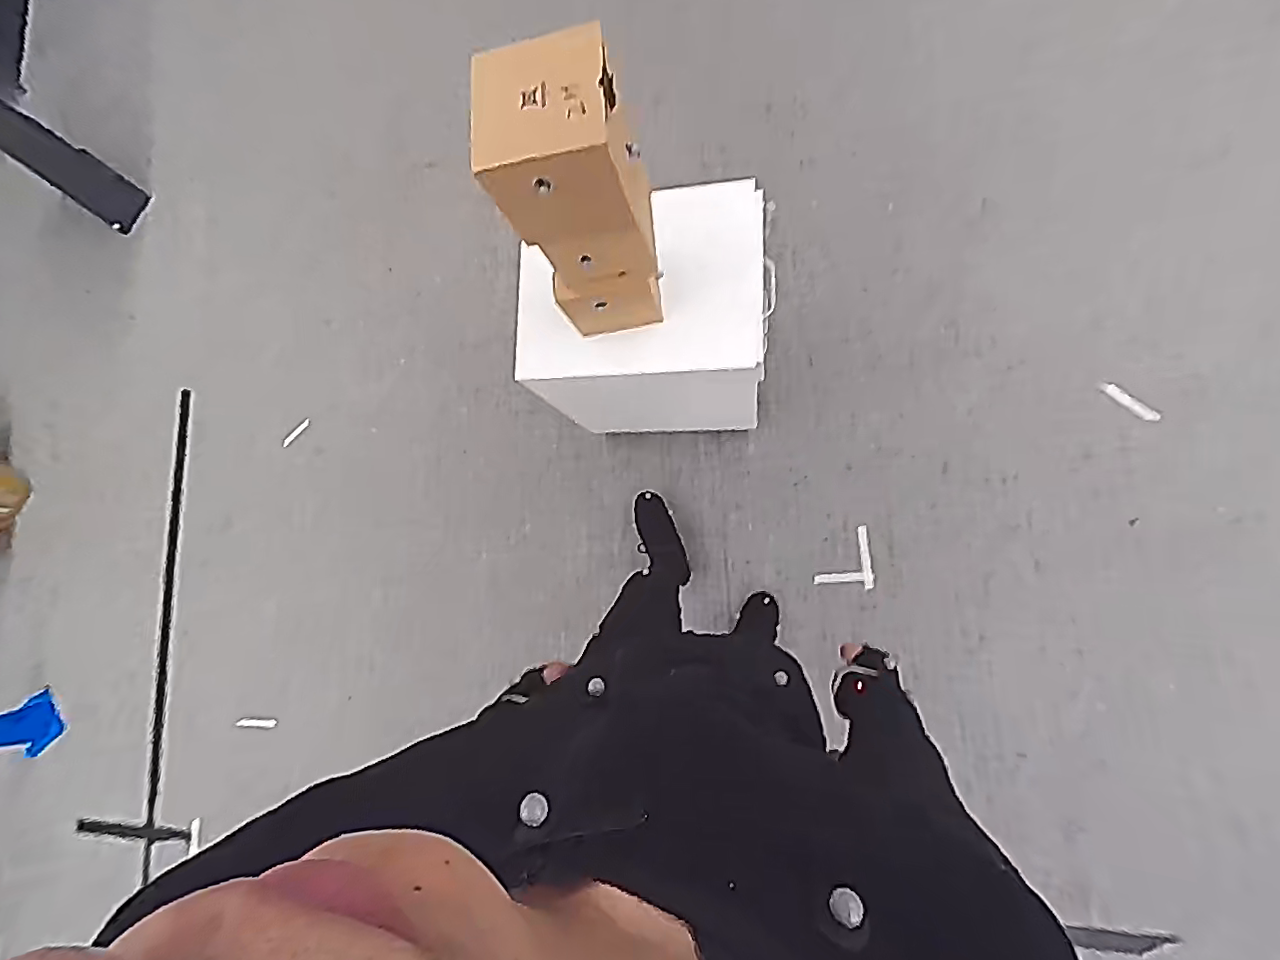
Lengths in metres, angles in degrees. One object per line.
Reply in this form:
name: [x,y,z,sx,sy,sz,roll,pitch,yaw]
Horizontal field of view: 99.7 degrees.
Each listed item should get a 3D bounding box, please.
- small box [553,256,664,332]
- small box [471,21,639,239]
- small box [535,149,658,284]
small box: [-0.060,-0.405,1.050,0.179,0.176,0.168,-8,81,10]
small box: [-0.107,-0.451,0.728,0.179,0.176,0.168,-4,82,12]
small box: [-0.070,-0.443,0.890,0.168,0.176,0.179,-7,81,11]
